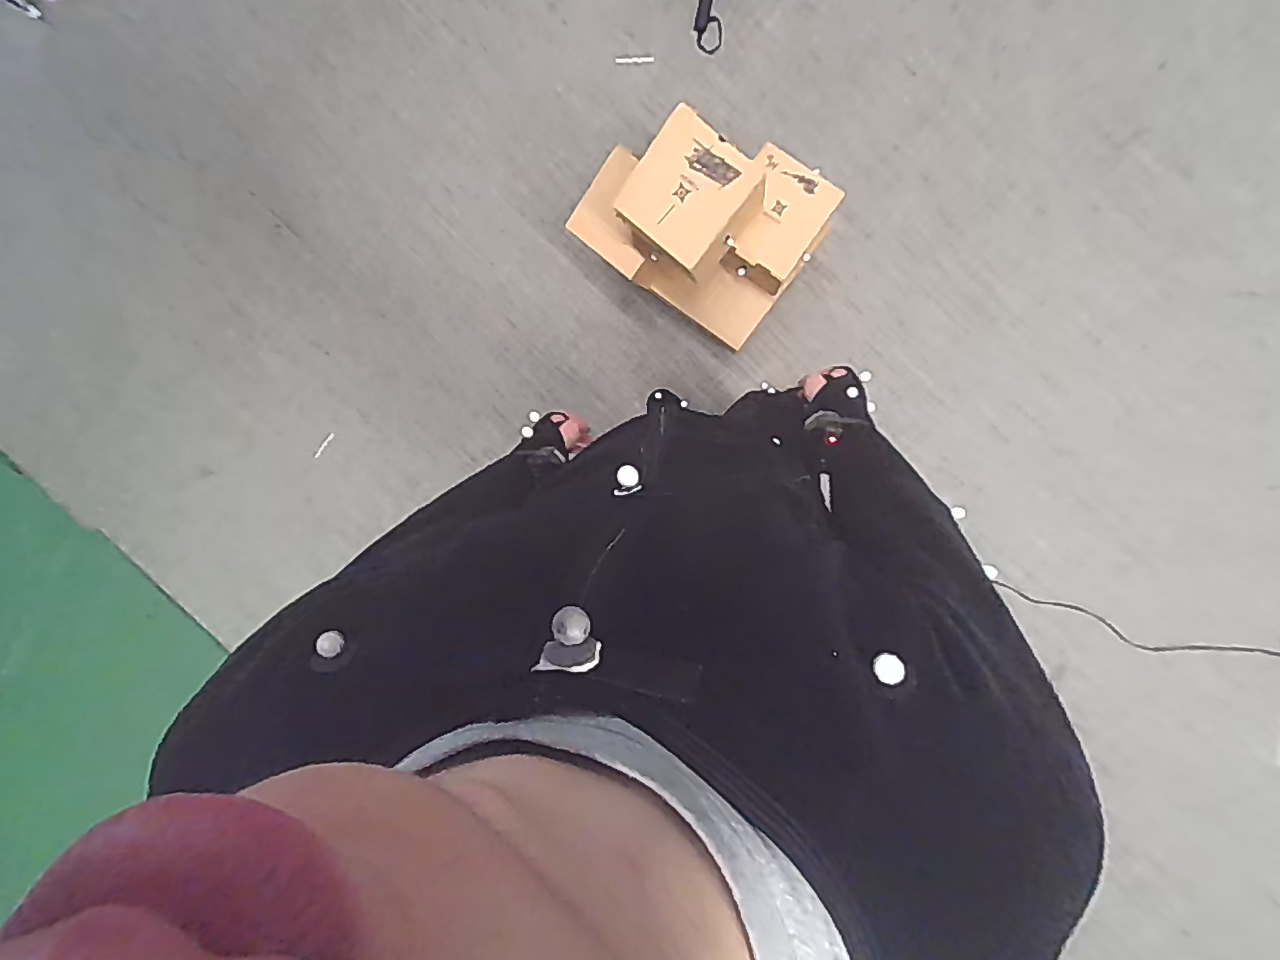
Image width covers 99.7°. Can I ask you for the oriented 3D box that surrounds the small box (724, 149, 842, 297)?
[{"bbox_3d":[0.253,-0.474,1.031,0.168,0.176,0.179,36,104,2],"label":"small box"}]

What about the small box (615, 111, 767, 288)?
[{"bbox_3d":[0.088,-0.448,0.897,0.168,0.176,0.179,41,107,2],"label":"small box"}]
